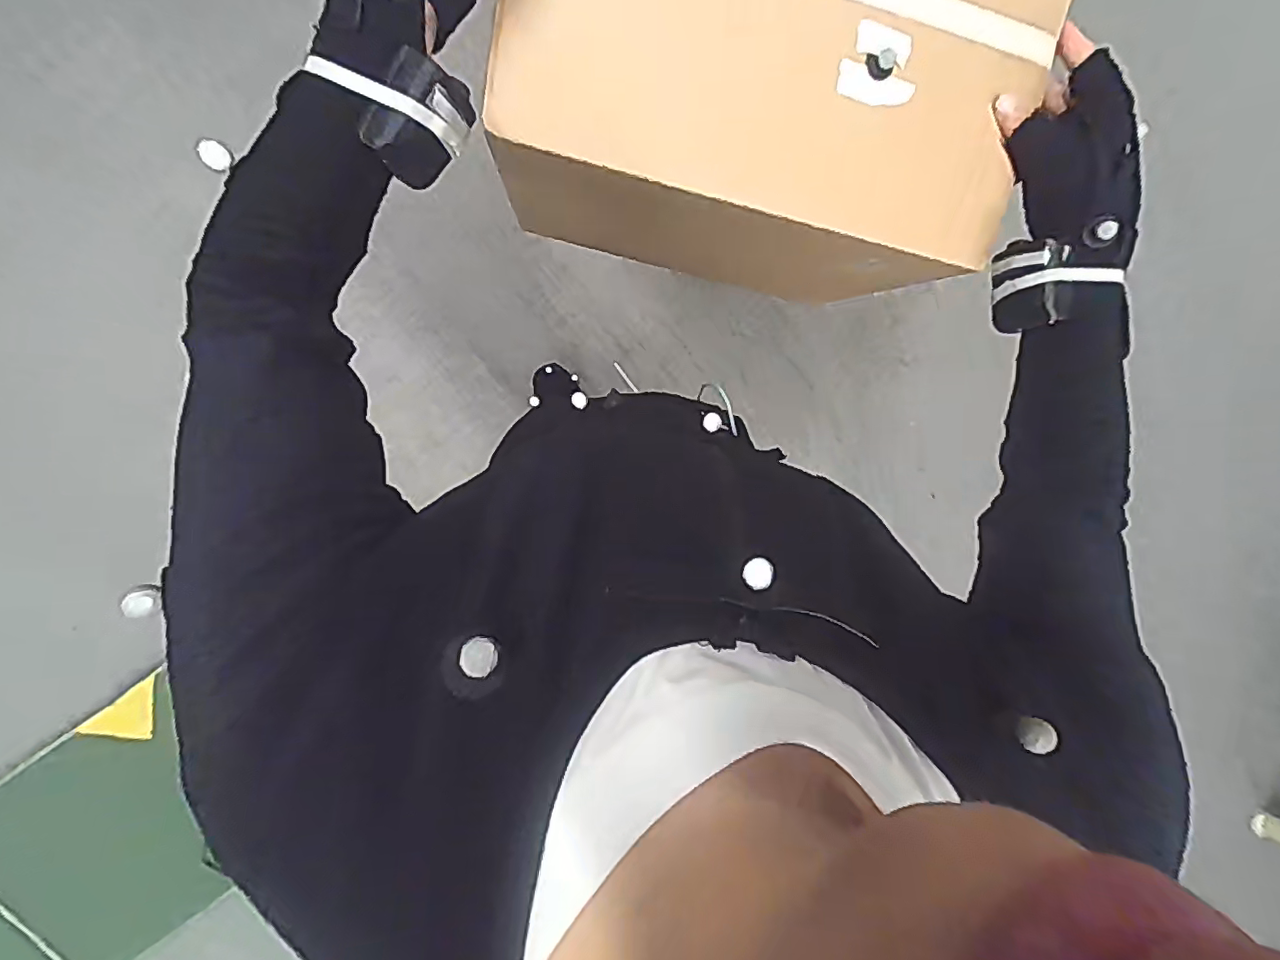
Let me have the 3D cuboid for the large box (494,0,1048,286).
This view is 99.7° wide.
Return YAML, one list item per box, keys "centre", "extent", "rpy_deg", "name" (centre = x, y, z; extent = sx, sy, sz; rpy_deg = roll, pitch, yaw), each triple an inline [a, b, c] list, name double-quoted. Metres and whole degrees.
- centre: [0.091, -0.403, 0.530]
  extent: [0.408, 0.320, 0.320]
  rpy_deg: [9, 103, -11]
  name: "large box"
